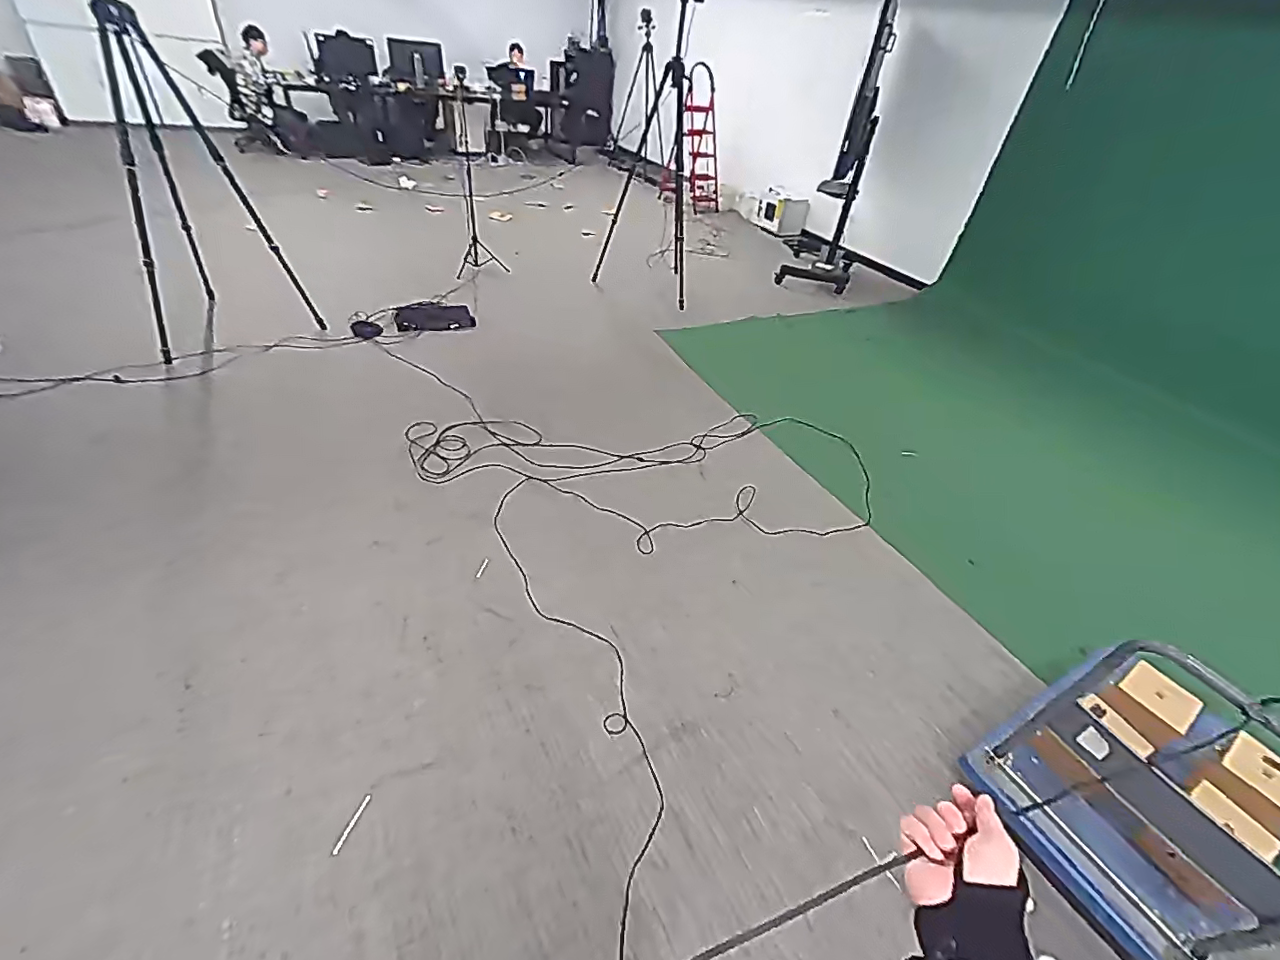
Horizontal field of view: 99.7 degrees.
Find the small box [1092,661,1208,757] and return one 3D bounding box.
[{"bbox_3d":[1.490,0.677,1.593,0.179,0.176,0.168,-19,47,-28],"label":"small box"}]

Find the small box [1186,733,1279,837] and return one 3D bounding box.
[{"bbox_3d":[1.629,0.821,1.440,0.179,0.176,0.168,-20,46,-27],"label":"small box"}]

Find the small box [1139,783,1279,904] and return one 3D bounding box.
[{"bbox_3d":[1.394,0.889,1.325,0.179,0.176,0.168,-16,45,-24],"label":"small box"}]
